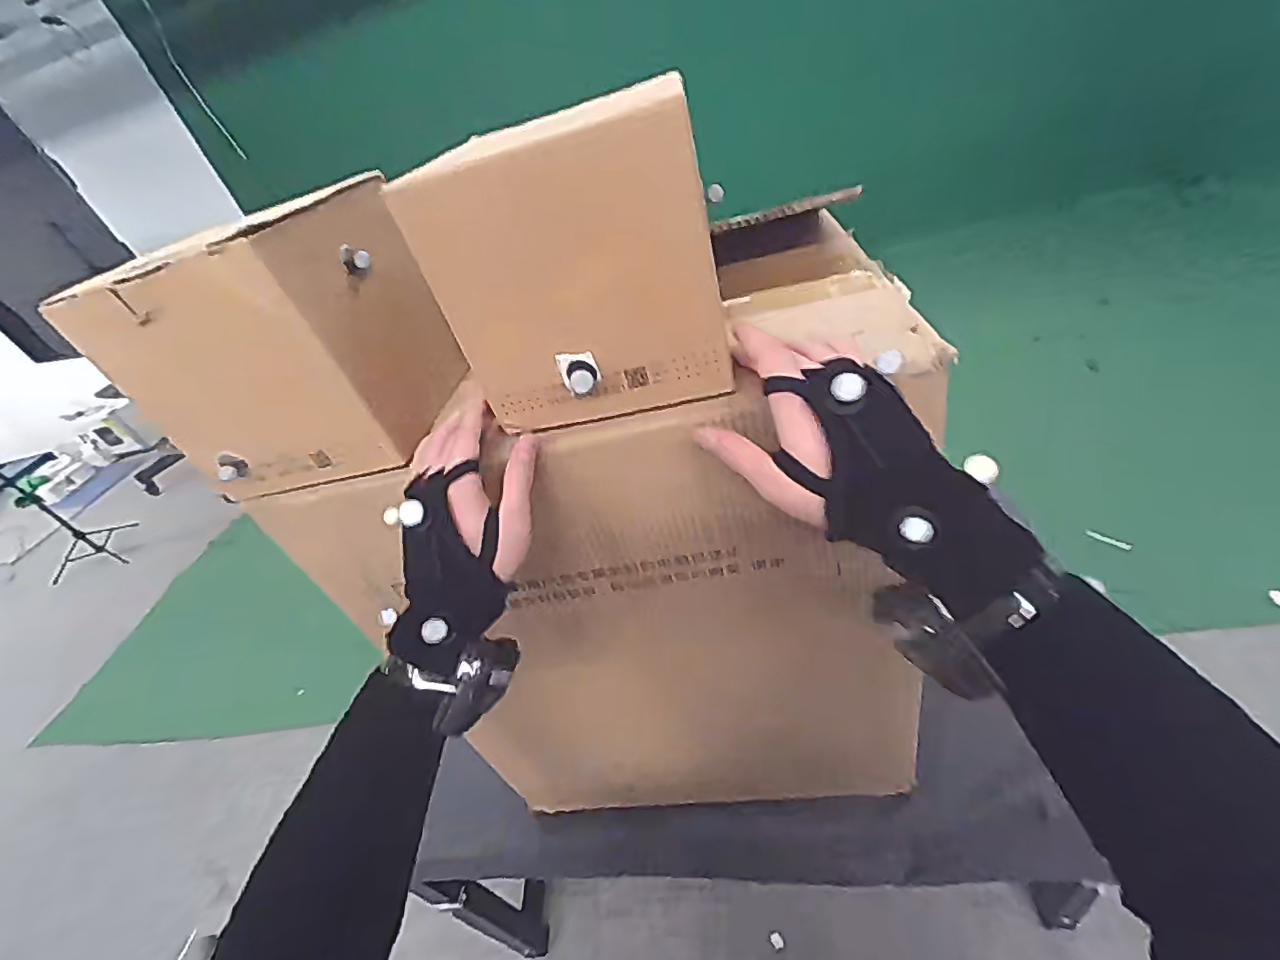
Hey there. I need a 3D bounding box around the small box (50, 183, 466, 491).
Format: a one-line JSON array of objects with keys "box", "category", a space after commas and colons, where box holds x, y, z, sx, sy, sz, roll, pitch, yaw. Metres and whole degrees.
[{"box": [-0.267, -0.106, 0.433, 0.168, 0.176, 0.179, -10, 37, 13], "category": "small box"}]

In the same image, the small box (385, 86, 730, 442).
[{"box": [-0.035, -0.152, 0.386, 0.168, 0.176, 0.179, -11, 39, 12], "category": "small box"}]
